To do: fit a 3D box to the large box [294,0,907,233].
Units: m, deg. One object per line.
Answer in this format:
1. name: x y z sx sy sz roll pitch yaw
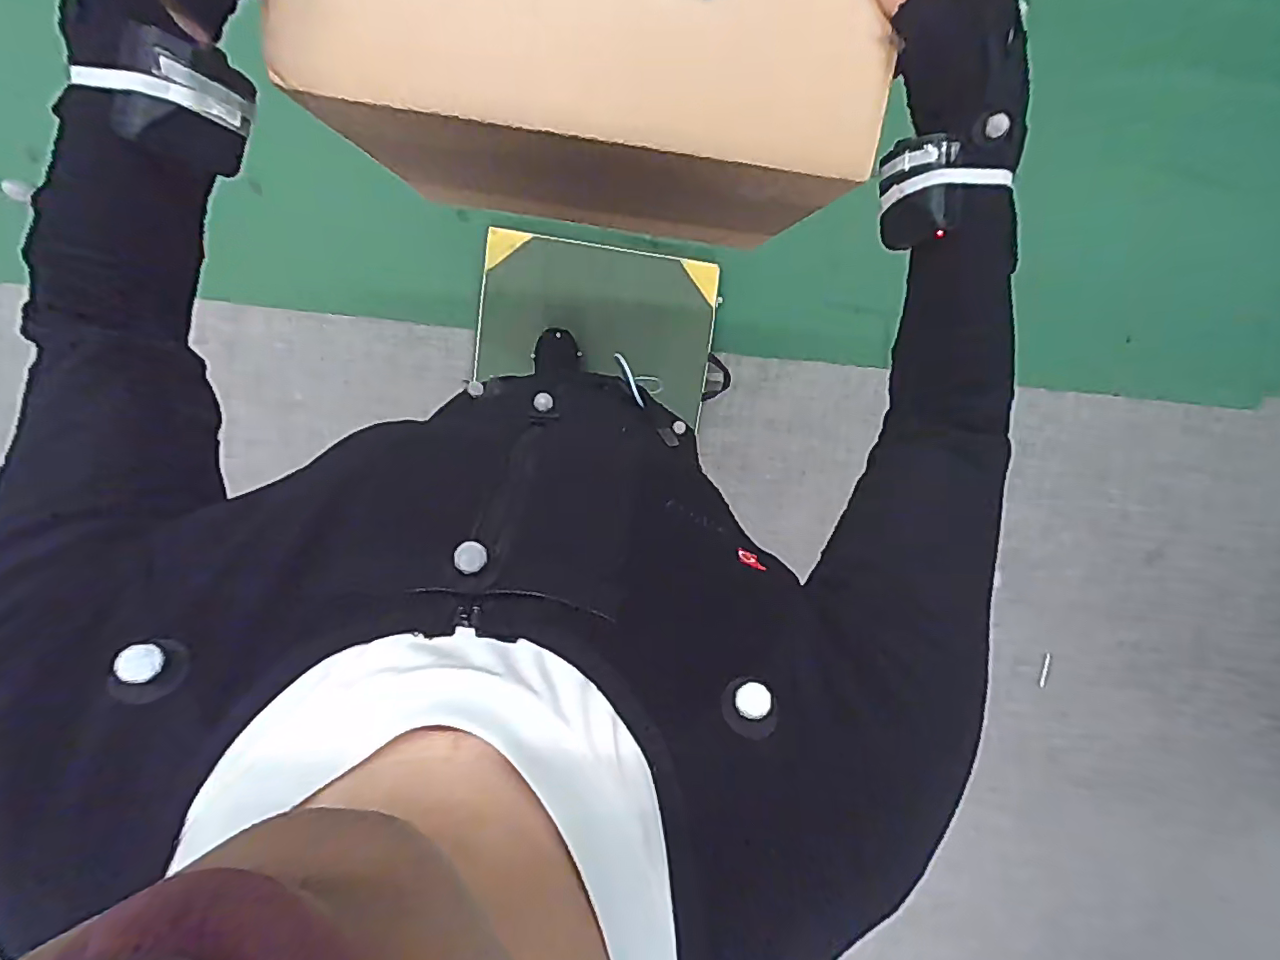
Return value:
1. large box: -0.022 -0.430 0.475 0.408 0.320 0.320 6 106 -6
